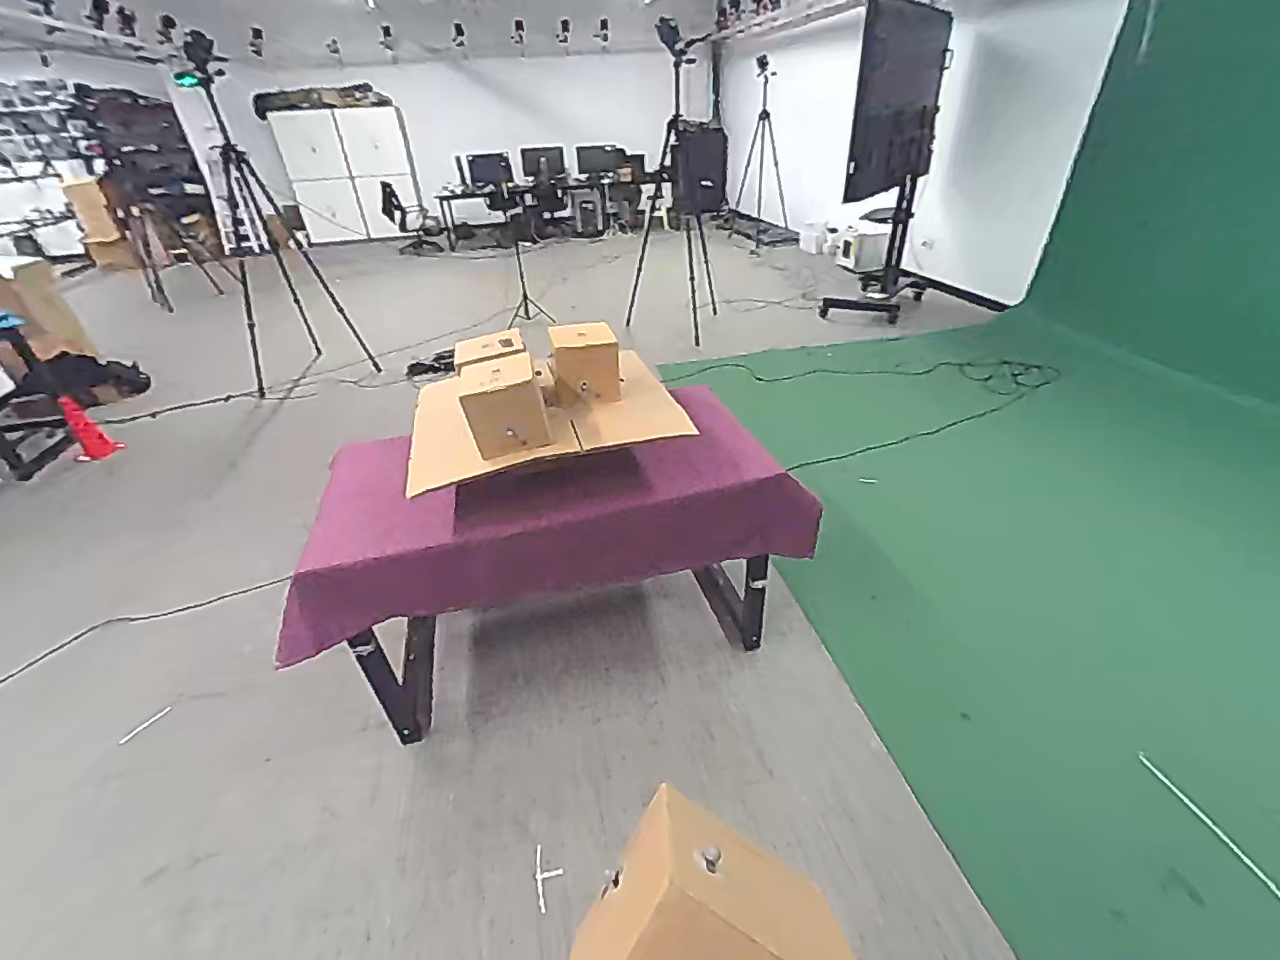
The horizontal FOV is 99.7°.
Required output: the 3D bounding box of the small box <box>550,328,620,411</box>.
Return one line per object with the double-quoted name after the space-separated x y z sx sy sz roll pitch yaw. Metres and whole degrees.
-0.152 -0.304 1.481 0.168 0.176 0.179 -9 35 -11 "small box"
